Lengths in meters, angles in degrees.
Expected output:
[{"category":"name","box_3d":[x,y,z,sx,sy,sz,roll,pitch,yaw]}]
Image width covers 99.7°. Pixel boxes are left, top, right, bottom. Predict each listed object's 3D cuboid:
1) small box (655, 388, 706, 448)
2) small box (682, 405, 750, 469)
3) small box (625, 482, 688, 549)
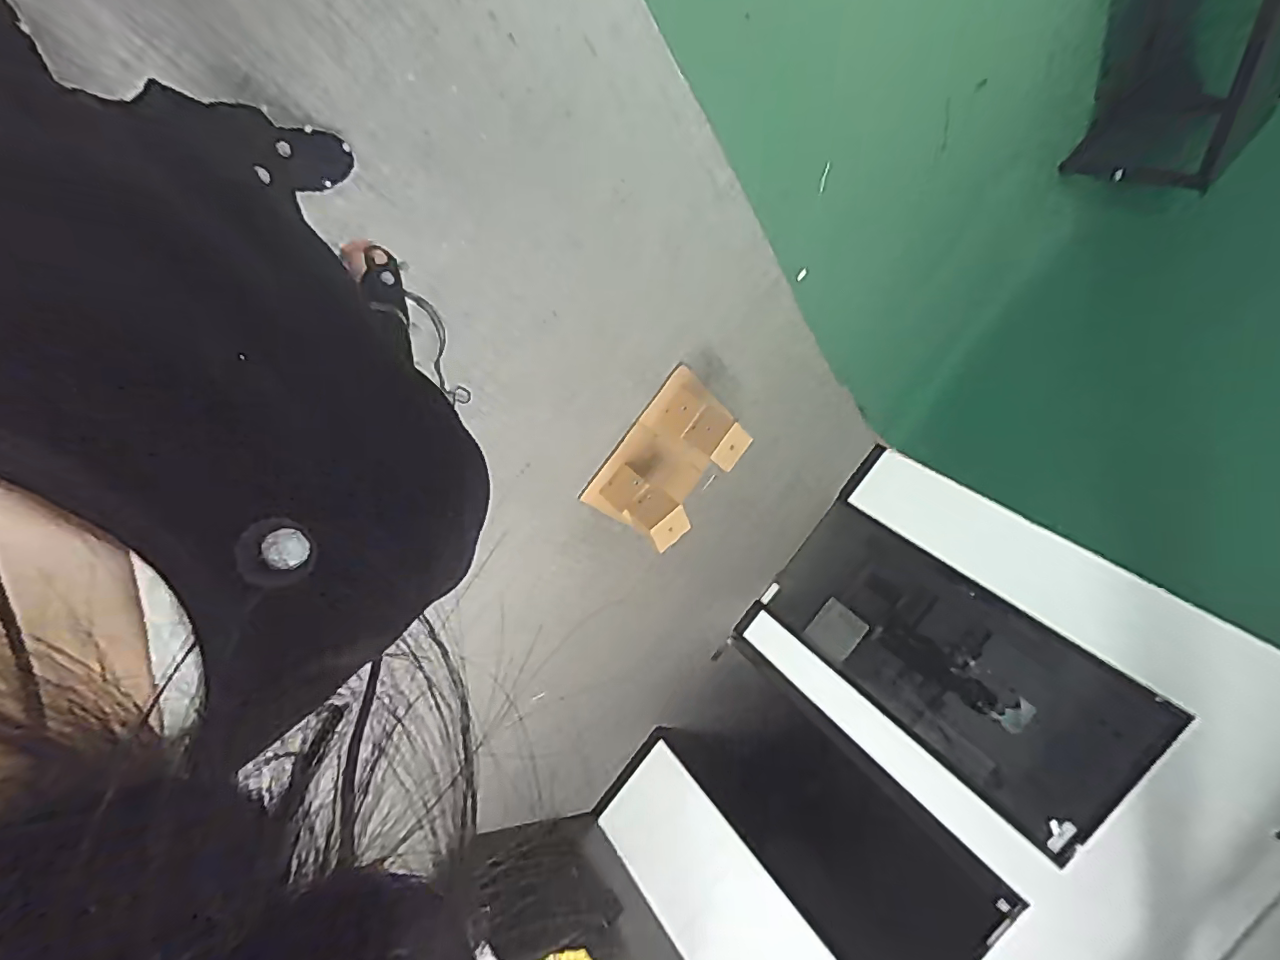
[{"category":"small box","box_3d":[0.192,-0.260,2.239,0.168,0.176,0.179,-54,143,5]},{"category":"small box","box_3d":[0.296,-0.176,2.143,0.168,0.176,0.179,-53,142,5]},{"category":"small box","box_3d":[0.065,0.138,2.170,0.168,0.176,0.179,-39,141,-12]}]
